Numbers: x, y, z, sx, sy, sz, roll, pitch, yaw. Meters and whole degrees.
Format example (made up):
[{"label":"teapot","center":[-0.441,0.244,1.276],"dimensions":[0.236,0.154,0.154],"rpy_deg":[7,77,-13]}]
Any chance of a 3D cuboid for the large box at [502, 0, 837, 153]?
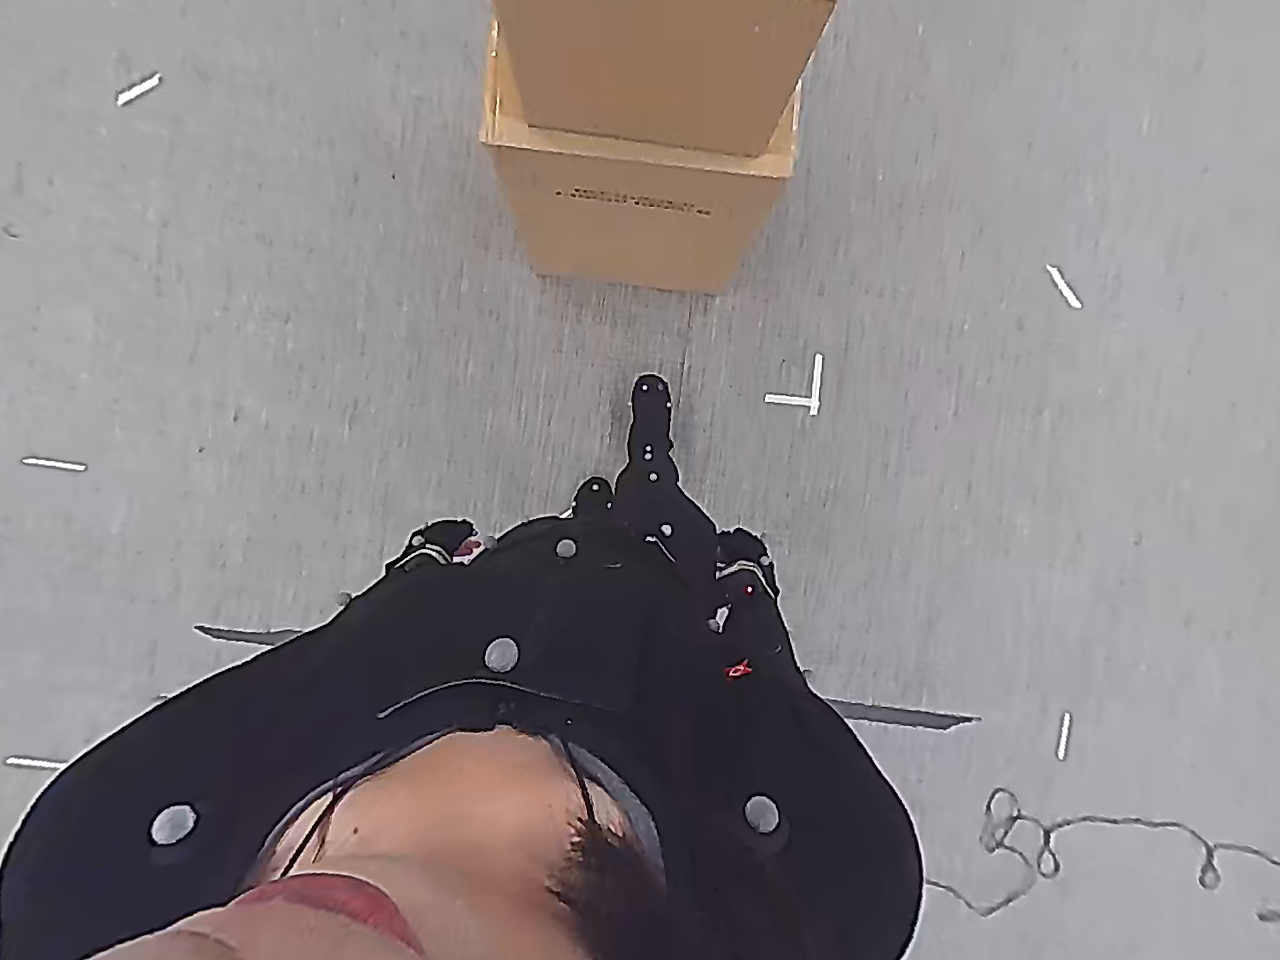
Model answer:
[{"label":"large box","center":[0.031,-0.715,0.758],"dimensions":[0.408,0.320,0.320],"rpy_deg":[5,91,-4]}]
